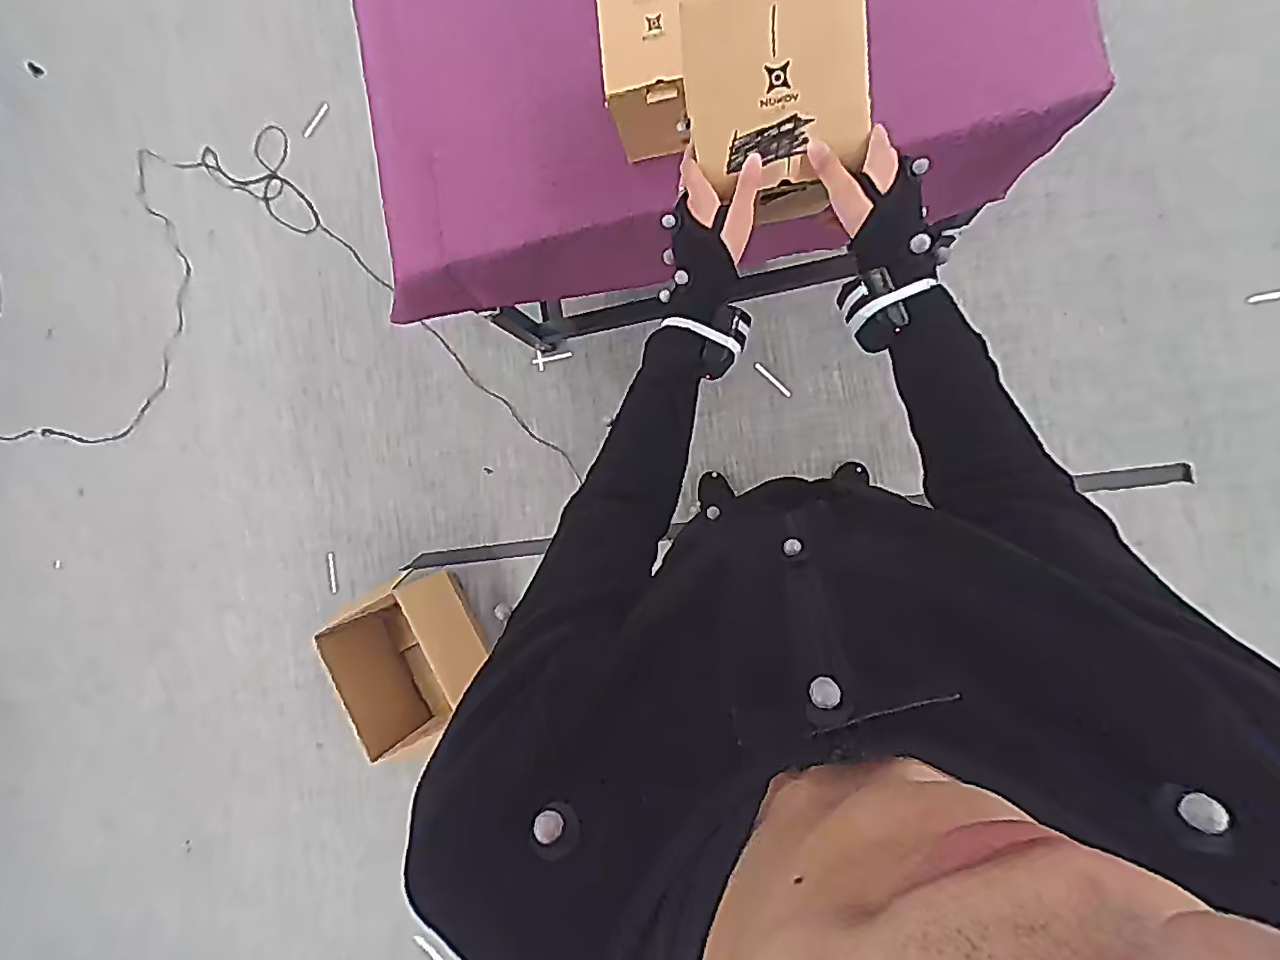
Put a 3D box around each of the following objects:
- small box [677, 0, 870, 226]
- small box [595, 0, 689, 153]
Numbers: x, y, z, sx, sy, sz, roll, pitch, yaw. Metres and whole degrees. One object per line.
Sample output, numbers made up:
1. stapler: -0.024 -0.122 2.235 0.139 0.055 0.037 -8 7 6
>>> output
1. small box: 0.135 -0.386 0.580 0.168 0.176 0.179 -7 103 8
2. small box: 0.034 -0.652 0.857 0.168 0.176 0.179 -5 88 11
